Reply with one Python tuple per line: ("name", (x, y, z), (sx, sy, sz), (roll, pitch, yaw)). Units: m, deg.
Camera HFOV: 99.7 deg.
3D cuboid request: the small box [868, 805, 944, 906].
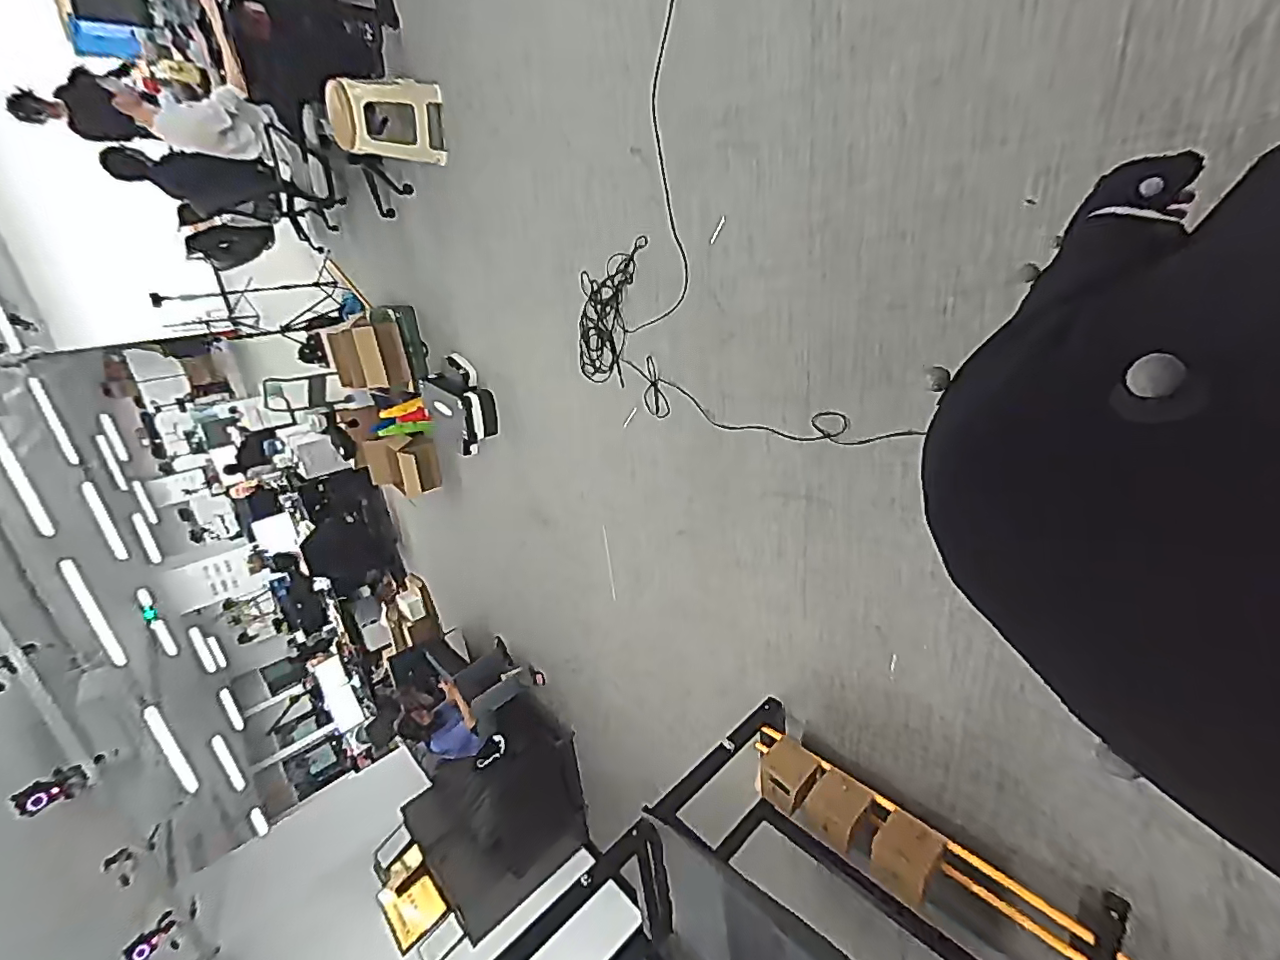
("small box", (0.875, 1.226, 1.776), (0.168, 0.176, 0.179), (20, 121, 46))
